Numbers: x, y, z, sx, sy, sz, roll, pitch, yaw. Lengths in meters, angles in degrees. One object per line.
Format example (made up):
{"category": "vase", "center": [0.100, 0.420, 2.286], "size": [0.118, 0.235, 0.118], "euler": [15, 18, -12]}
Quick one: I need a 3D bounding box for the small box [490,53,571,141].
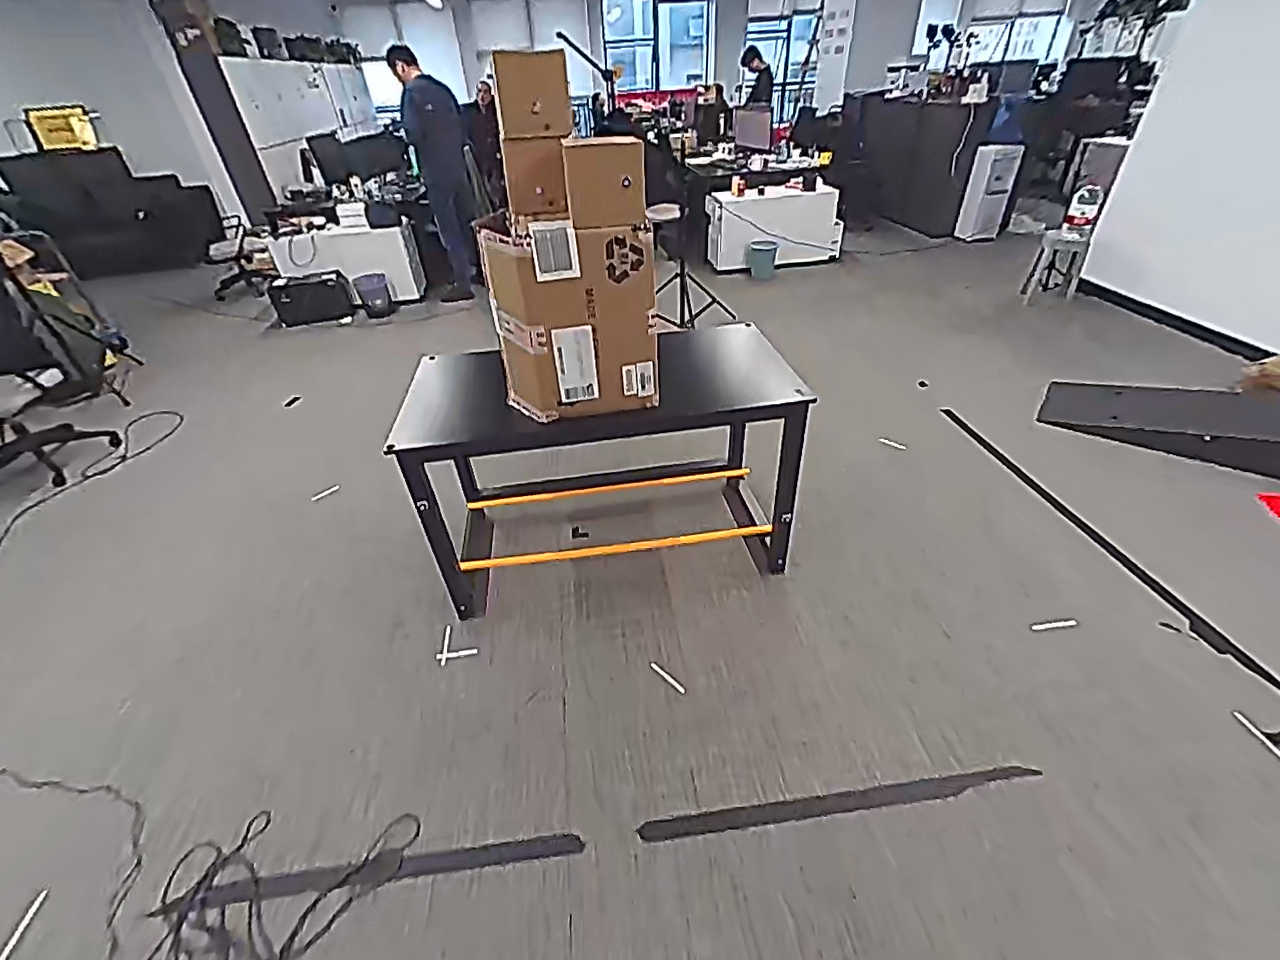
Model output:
{"category": "small box", "center": [-0.270, -0.936, 1.330], "size": [0.168, 0.176, 0.179], "euler": [-11, 36, -11]}

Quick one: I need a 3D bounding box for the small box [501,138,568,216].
{"category": "small box", "center": [-0.273, -0.804, 1.430], "size": [0.168, 0.176, 0.179], "euler": [-9, 36, -10]}

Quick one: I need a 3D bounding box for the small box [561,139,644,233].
{"category": "small box", "center": [-0.088, -0.698, 1.281], "size": [0.179, 0.176, 0.168], "euler": [-9, 37, -7]}
